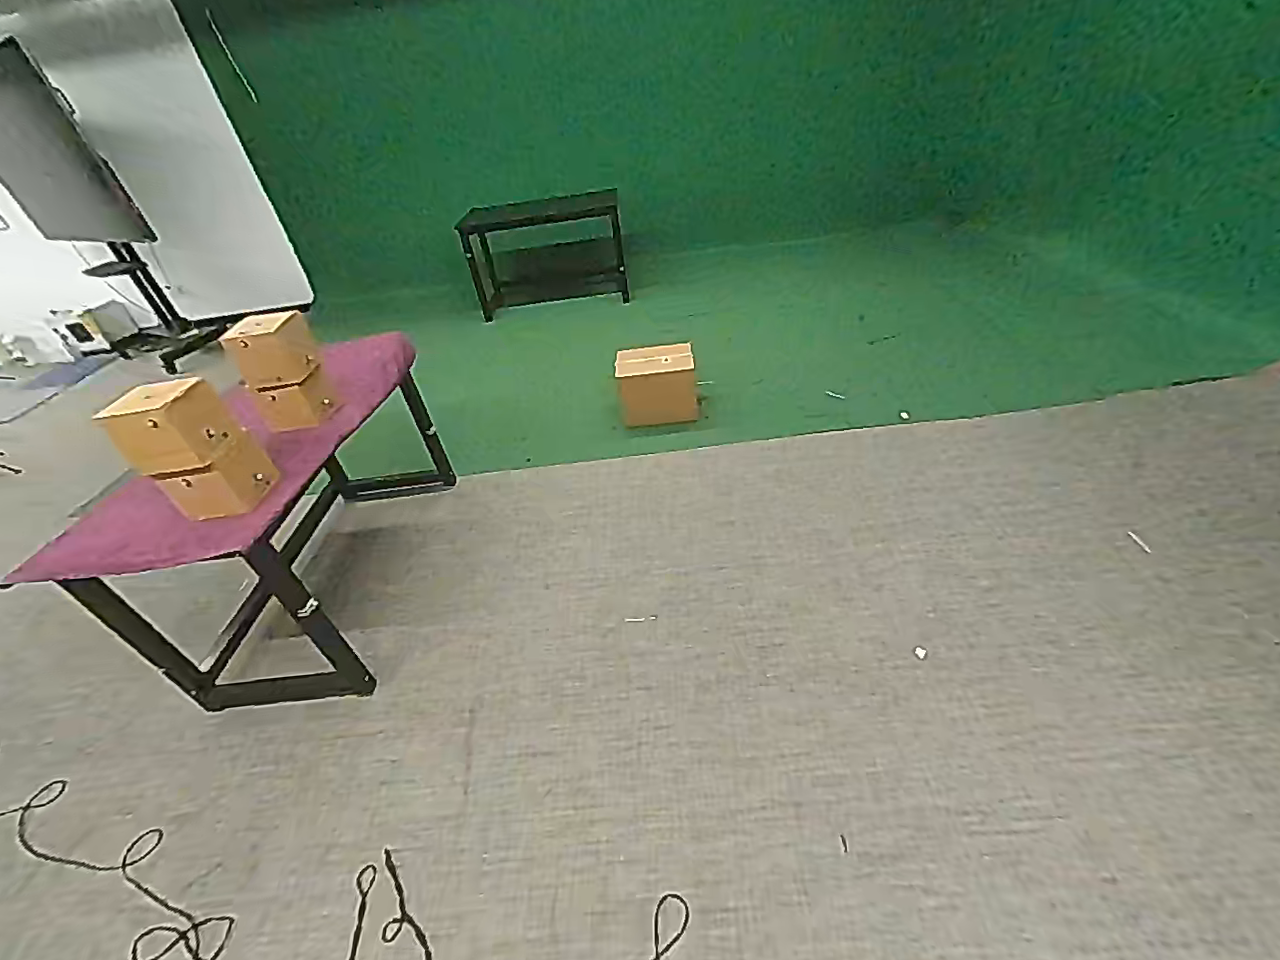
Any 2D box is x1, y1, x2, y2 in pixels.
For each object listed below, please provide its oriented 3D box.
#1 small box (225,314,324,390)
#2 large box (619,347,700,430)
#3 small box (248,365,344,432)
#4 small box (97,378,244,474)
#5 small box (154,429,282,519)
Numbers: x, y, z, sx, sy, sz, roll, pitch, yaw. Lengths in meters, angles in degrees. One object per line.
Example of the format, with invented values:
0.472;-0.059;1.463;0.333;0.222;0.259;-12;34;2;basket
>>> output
-1.124;-0.399;1.684;0.168;0.176;0.179;-8;37;2;small box
0.104;-0.489;2.899;0.408;0.320;0.320;-5;38;5;large box
-1.130;-0.272;1.791;0.179;0.176;0.168;-6;38;4;small box
-1.143;-0.129;1.334;0.179;0.176;0.168;-8;37;3;small box
-1.113;-0.012;1.443;0.179;0.176;0.168;-8;38;3;small box
